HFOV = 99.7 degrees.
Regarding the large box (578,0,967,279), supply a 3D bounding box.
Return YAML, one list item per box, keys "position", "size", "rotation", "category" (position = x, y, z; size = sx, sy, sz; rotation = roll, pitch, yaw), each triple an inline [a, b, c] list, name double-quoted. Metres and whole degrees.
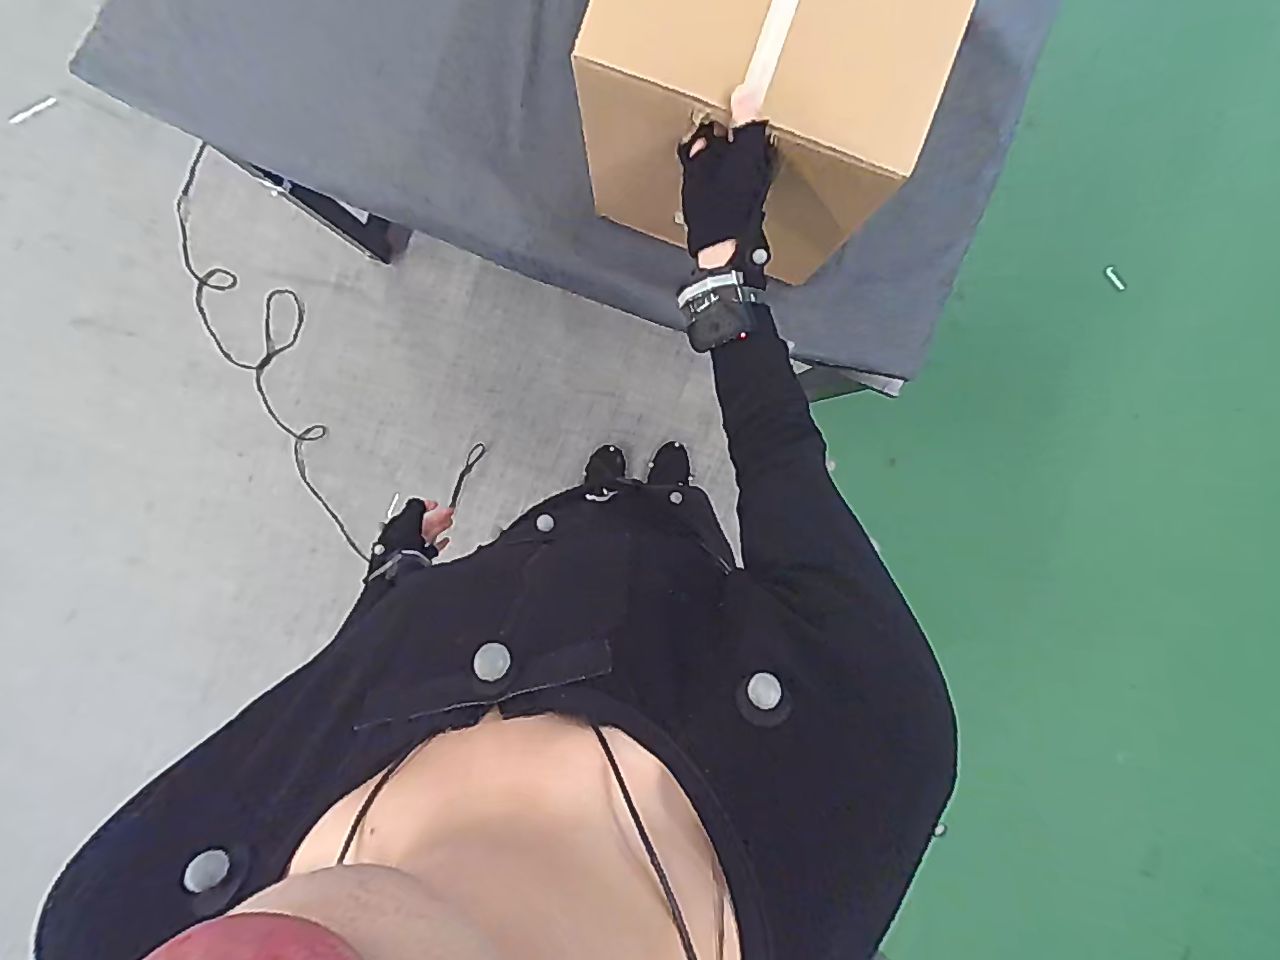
- position: [0.149, -0.507, 0.609]
  size: [0.320, 0.320, 0.408]
  rotation: [19, 92, -2]
  category: "large box"
